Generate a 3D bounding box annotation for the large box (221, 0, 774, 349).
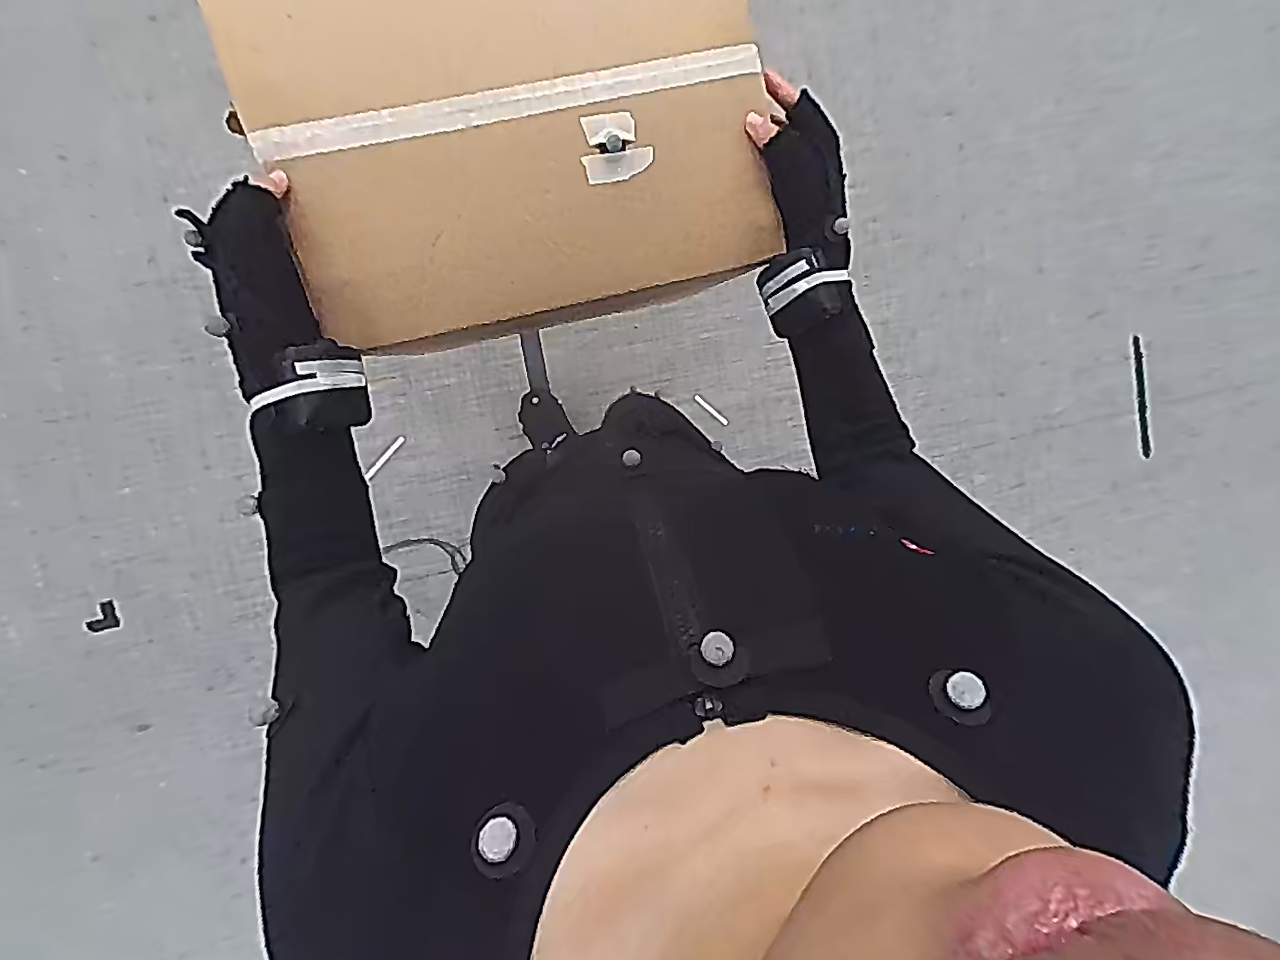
[{"bbox_3d":[-0.123,-0.342,0.588,0.408,0.320,0.320,-15,106,-7],"label":"large box"}]
